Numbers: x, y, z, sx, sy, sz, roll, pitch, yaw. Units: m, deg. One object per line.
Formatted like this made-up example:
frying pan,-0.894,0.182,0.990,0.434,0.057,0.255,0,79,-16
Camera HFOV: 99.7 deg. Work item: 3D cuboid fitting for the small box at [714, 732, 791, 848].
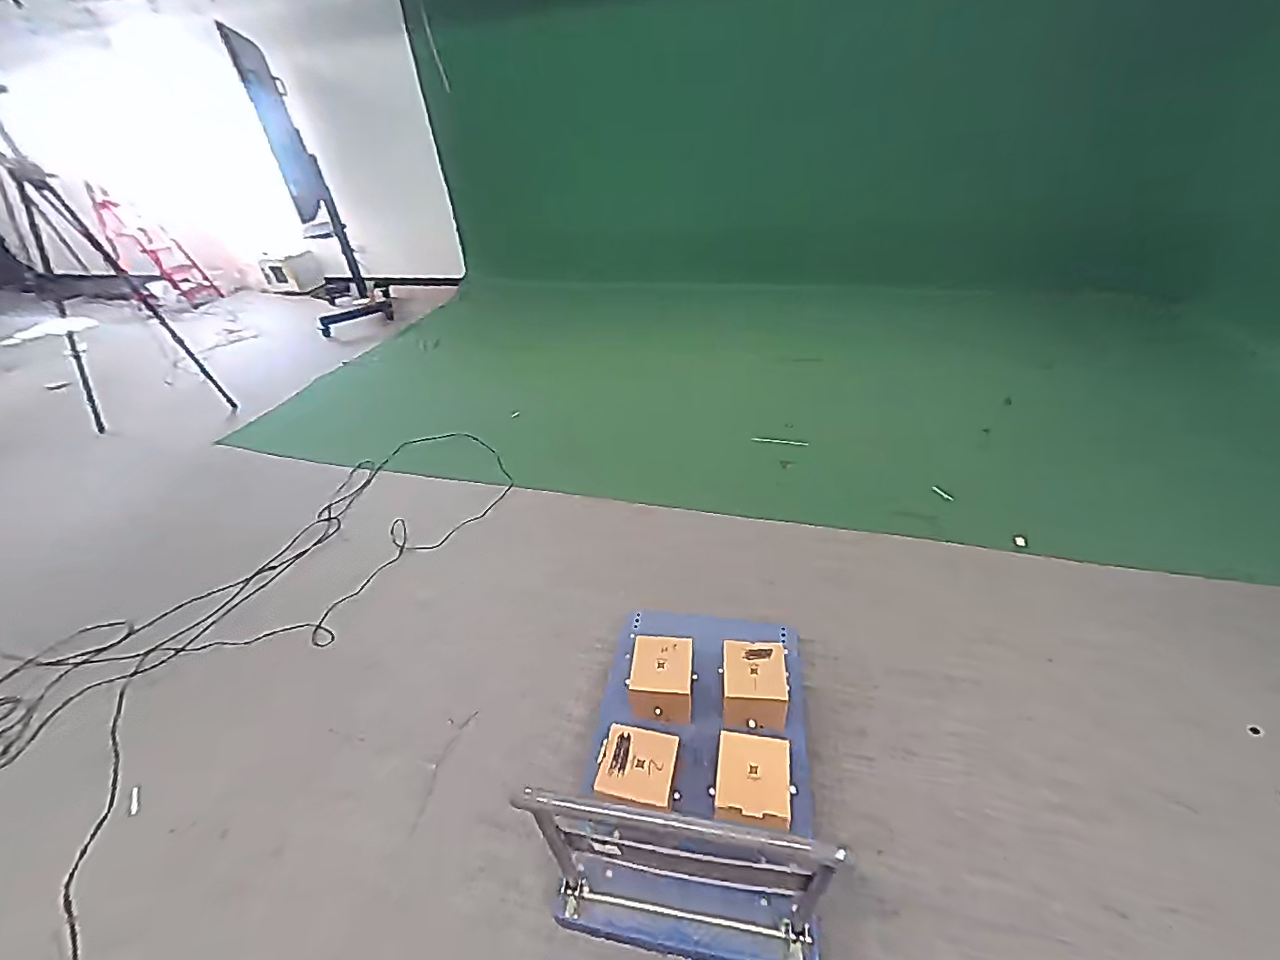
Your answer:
small box,0.269,0.742,1.299,0.168,0.176,0.179,4,39,11

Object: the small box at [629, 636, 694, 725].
small box,0.066,0.572,1.540,0.168,0.176,0.179,2,38,8

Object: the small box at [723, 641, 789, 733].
small box,0.317,0.575,1.506,0.168,0.176,0.179,0,39,8
